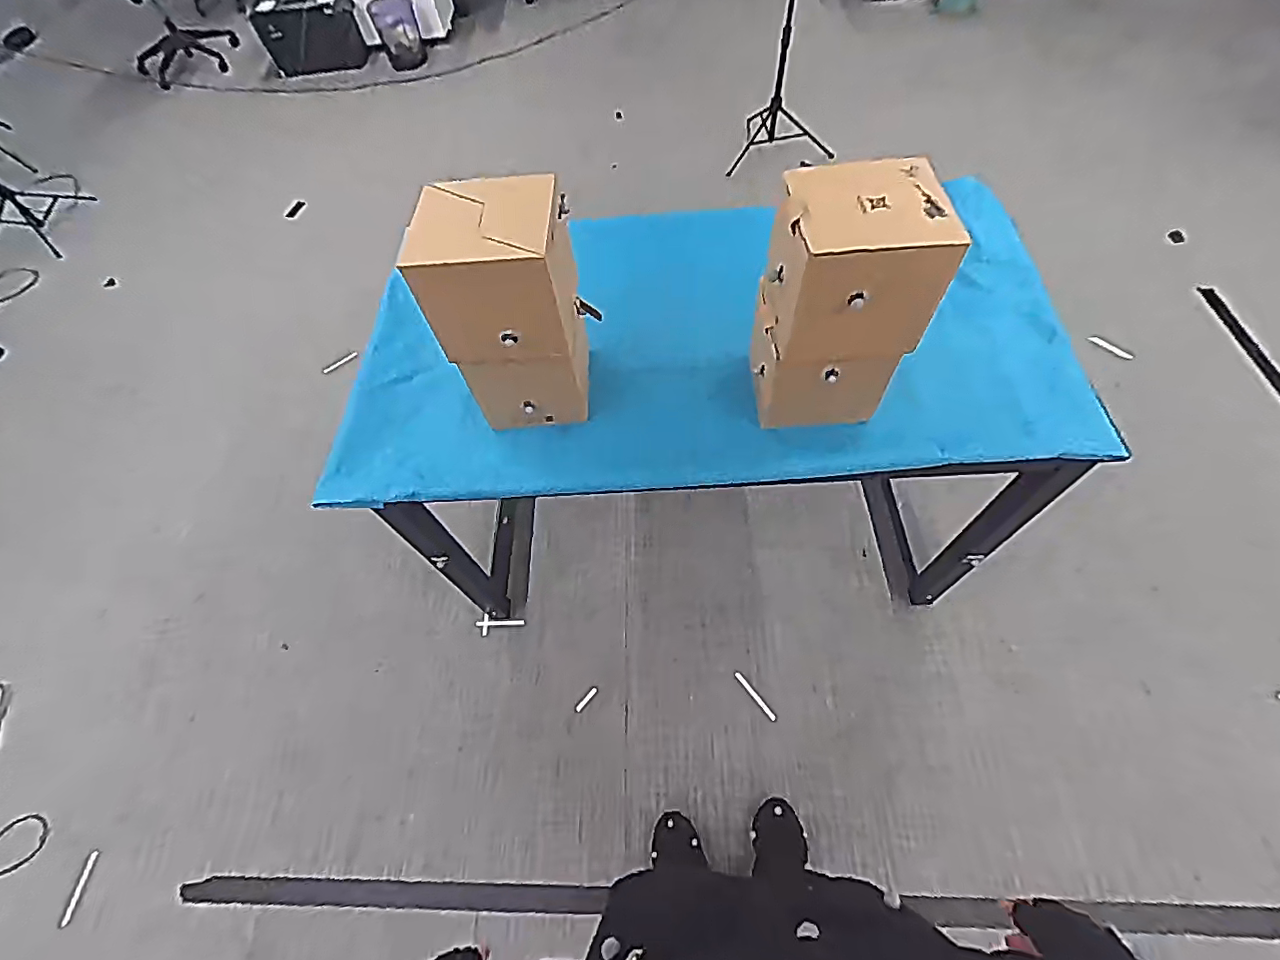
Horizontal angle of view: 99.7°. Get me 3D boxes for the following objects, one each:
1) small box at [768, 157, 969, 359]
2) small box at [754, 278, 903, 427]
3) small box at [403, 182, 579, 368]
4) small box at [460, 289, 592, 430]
[{"bbox_3d":[0.266,-0.272,0.685,0.179,0.176,0.168,-6,59,1],"label":"small box"},{"bbox_3d":[0.272,-0.195,0.828,0.179,0.176,0.168,-4,60,4],"label":"small box"},{"bbox_3d":[-0.186,-0.273,0.729,0.179,0.176,0.168,-2,59,4],"label":"small box"},{"bbox_3d":[-0.175,-0.200,0.879,0.168,0.176,0.179,-2,62,6],"label":"small box"}]
